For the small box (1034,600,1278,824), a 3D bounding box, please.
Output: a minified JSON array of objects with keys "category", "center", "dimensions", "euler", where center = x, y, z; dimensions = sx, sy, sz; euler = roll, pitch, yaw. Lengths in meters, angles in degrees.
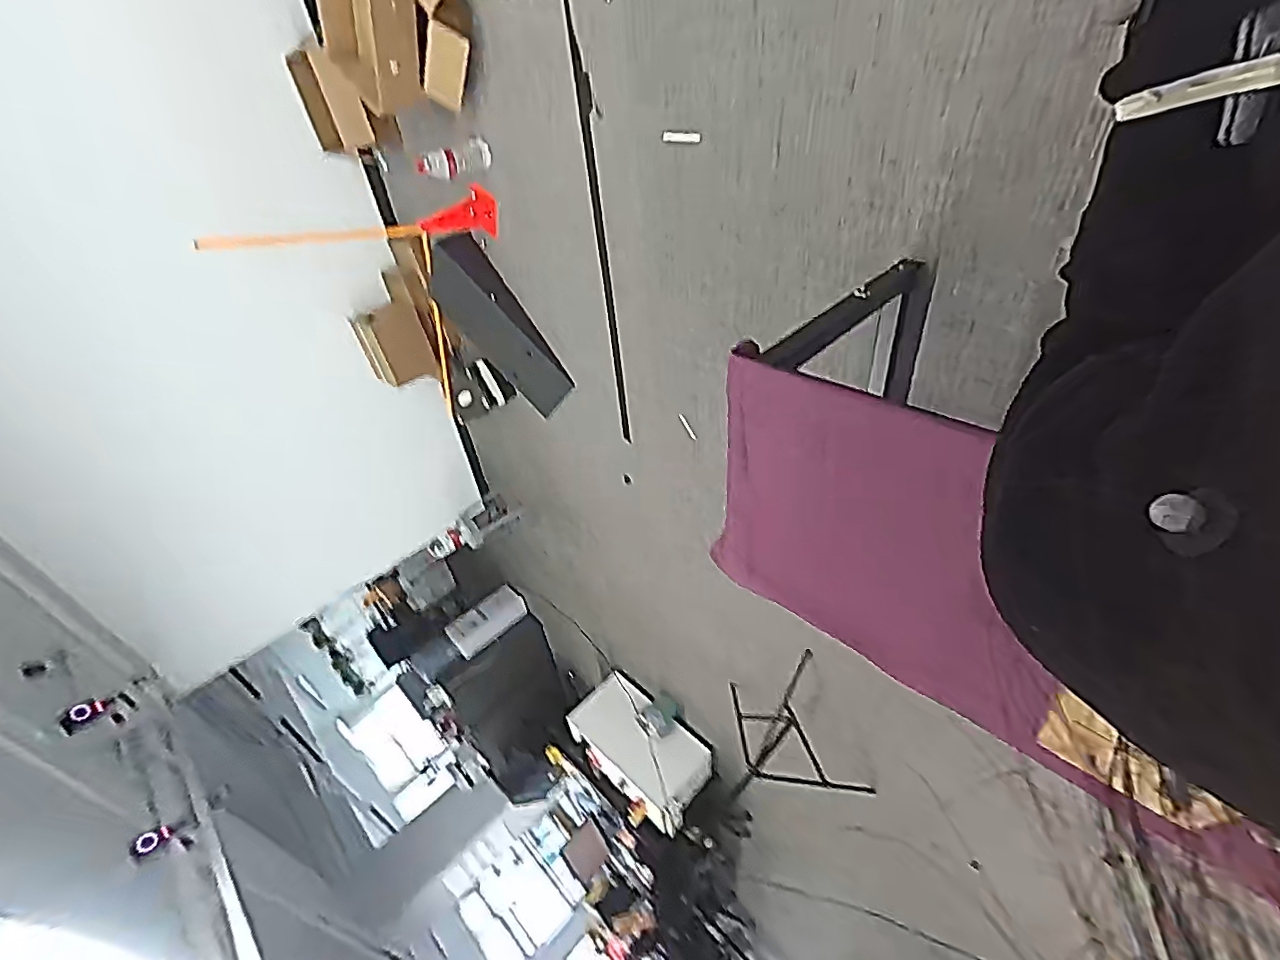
[{"category":"small box","center":[0.665,0.289,0.705],"dimensions":[0.179,0.176,0.168],"euler":[27,140,38]}]
